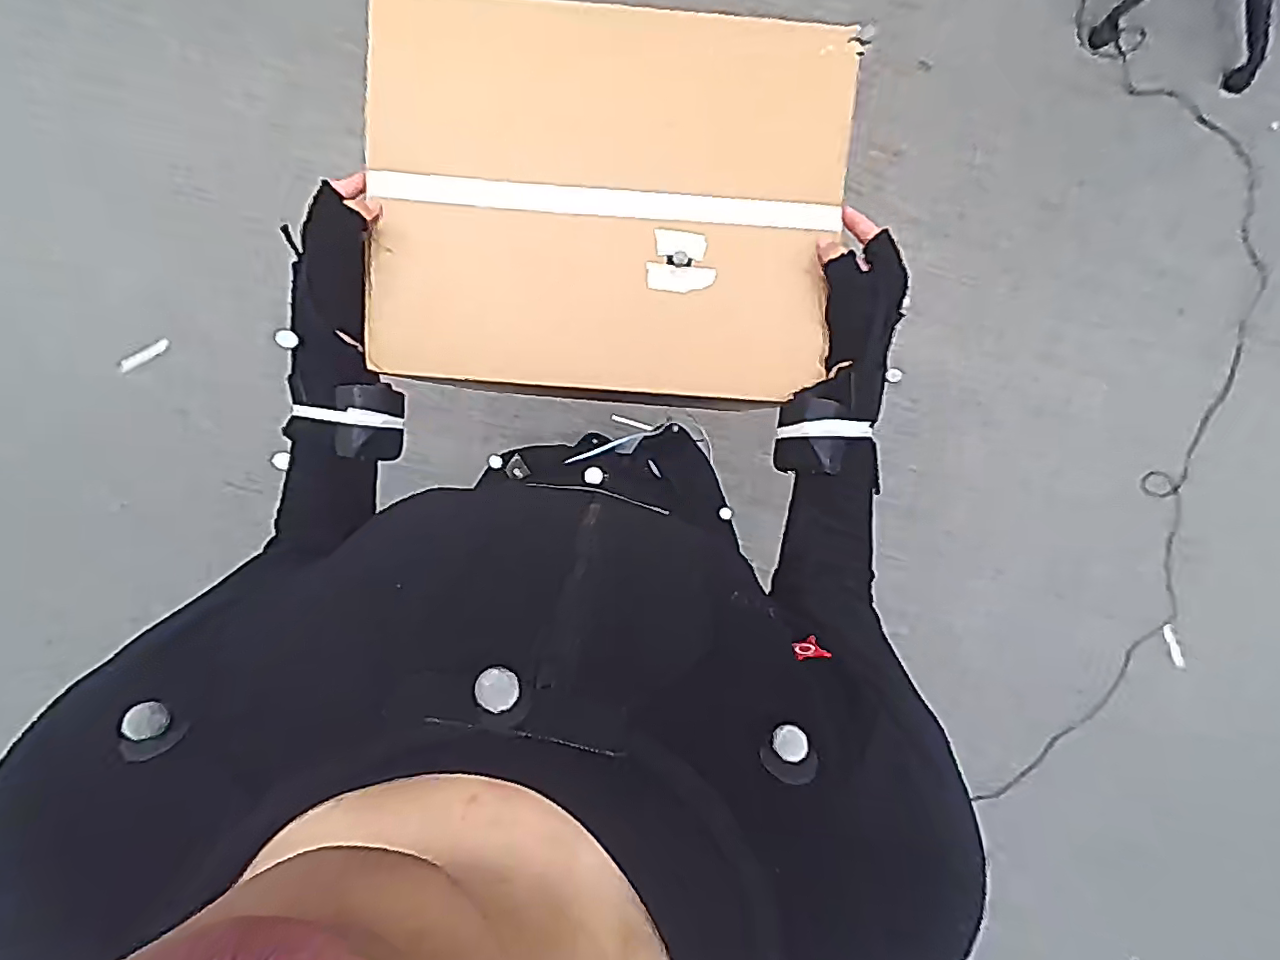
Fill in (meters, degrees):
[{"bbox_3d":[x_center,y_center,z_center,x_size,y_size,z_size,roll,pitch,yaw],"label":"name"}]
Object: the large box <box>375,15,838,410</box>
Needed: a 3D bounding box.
[{"bbox_3d":[-0.039,-0.247,0.624,0.408,0.320,0.320,3,97,-2],"label":"large box"}]
